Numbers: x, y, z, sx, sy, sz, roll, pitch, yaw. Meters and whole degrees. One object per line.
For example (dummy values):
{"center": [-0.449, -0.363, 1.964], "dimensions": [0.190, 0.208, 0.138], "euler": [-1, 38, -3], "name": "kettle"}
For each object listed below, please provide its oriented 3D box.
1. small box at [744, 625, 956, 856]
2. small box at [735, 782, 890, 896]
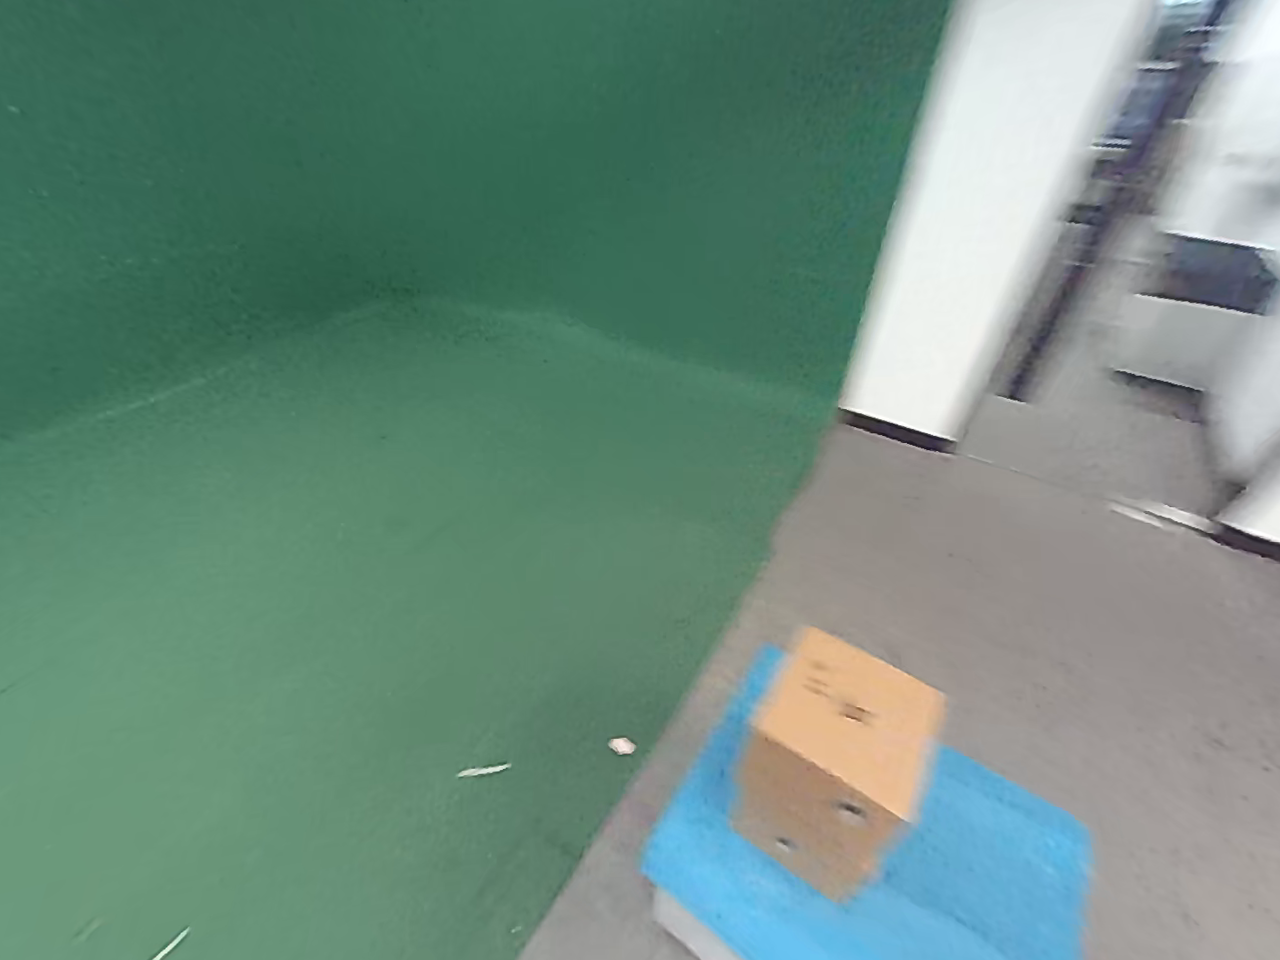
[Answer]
{"center": [0.249, 0.322, 0.666], "dimensions": [0.179, 0.176, 0.168], "euler": [25, 46, 26], "name": "small box"}
{"center": [0.256, 0.449, 0.771], "dimensions": [0.179, 0.176, 0.168], "euler": [25, 46, 26], "name": "small box"}
